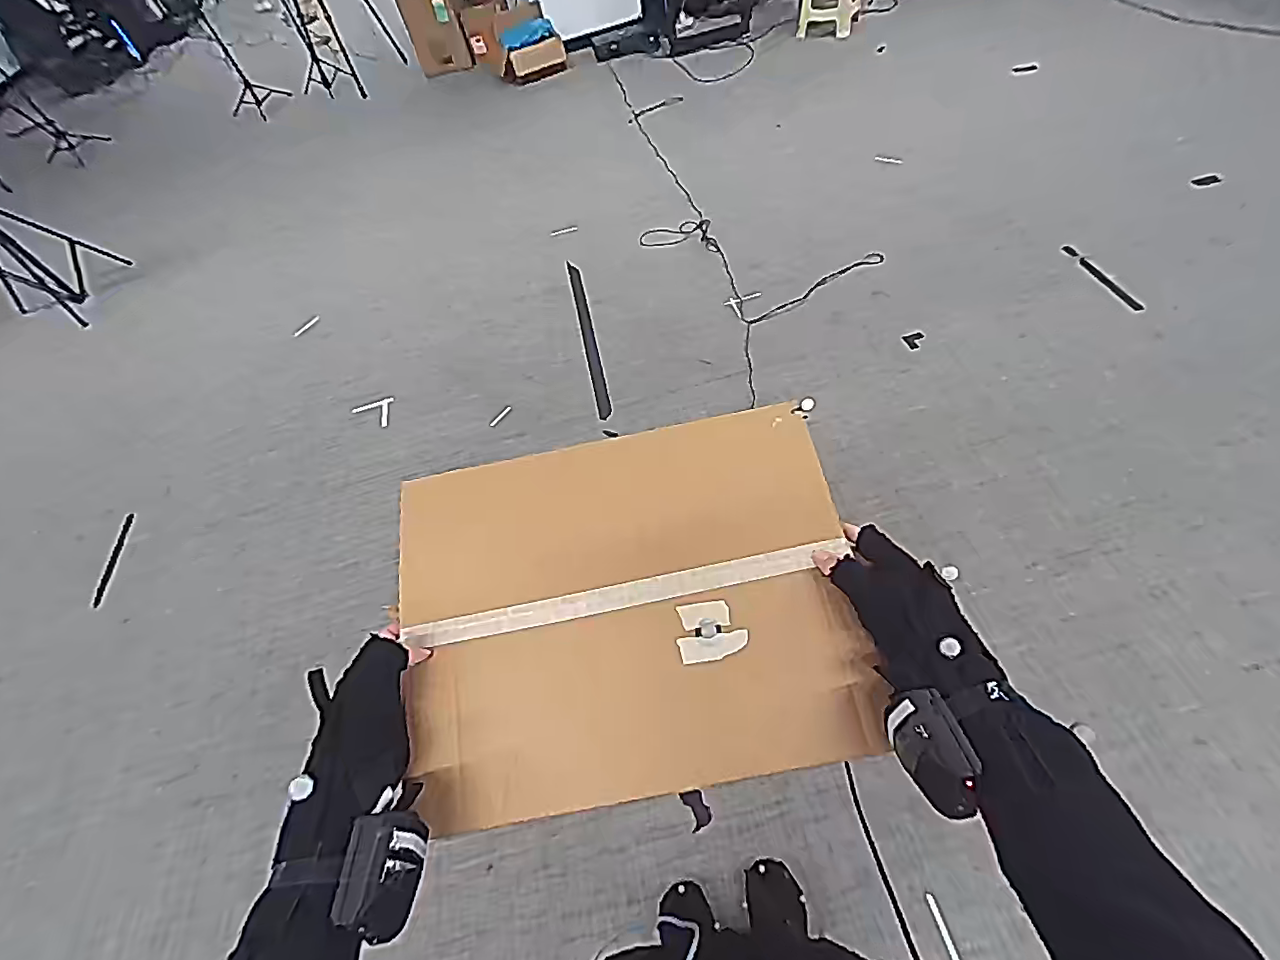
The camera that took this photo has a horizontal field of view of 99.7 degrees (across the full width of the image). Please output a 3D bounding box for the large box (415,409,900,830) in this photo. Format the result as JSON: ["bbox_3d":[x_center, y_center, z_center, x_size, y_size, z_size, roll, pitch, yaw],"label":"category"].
[{"bbox_3d":[0.002,0.164,0.629,0.408,0.320,0.320,-12,67,1],"label":"large box"}]
